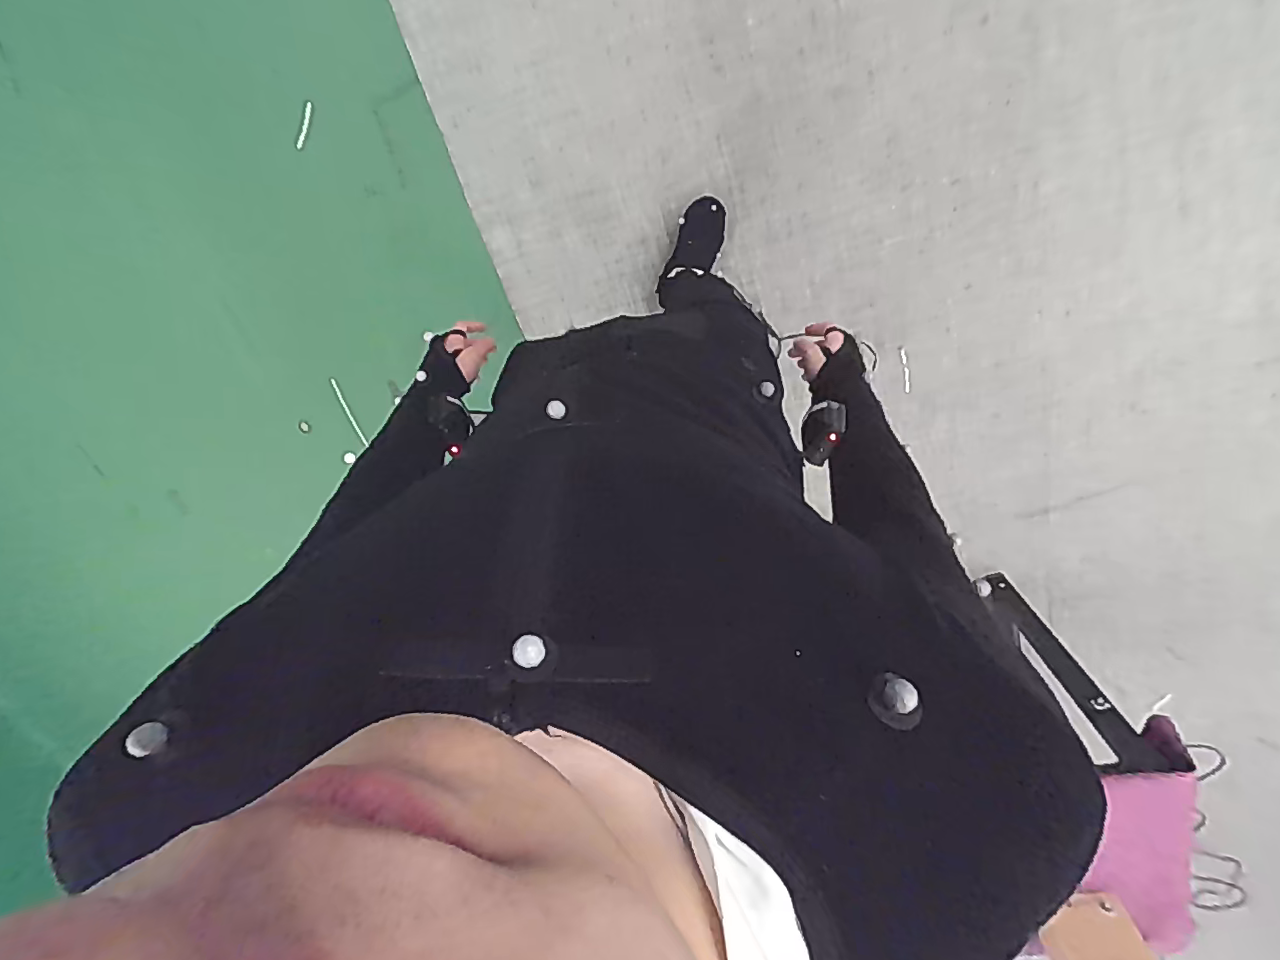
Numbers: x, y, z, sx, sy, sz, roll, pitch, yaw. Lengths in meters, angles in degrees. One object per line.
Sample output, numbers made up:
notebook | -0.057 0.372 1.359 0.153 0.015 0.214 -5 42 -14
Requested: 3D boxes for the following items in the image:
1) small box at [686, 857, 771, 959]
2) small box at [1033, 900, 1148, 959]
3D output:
small box | 0.209 1.026 1.271 0.168 0.176 0.179 -13 114 12
small box | 1.002 1.064 1.194 0.168 0.176 0.179 -15 113 14
